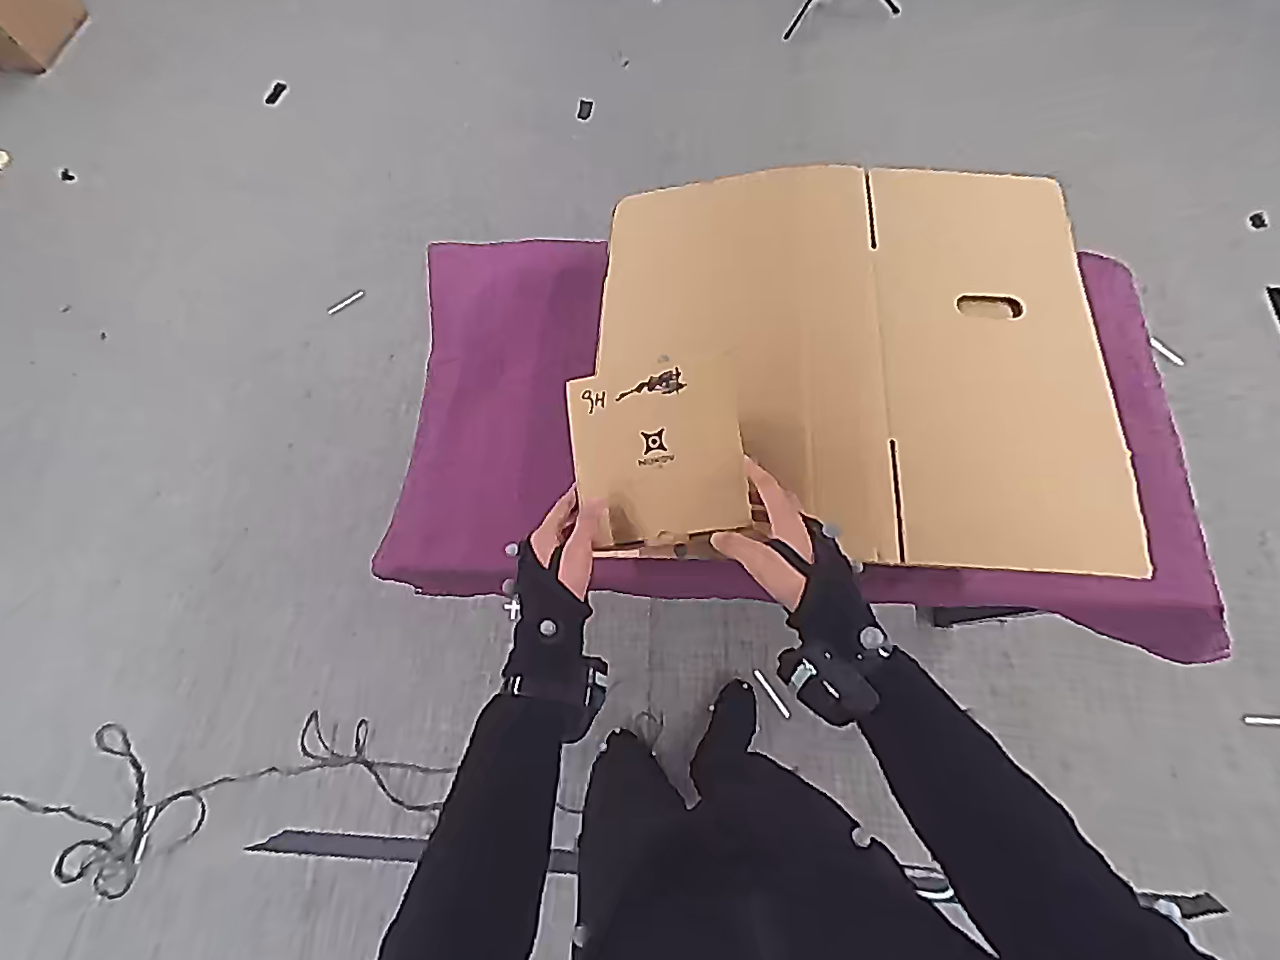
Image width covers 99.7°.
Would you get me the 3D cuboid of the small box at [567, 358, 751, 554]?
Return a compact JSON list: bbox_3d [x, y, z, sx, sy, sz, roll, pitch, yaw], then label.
[{"bbox_3d":[0.030,-0.015,0.607,0.168,0.176,0.179,-9,81,11],"label":"small box"}]
